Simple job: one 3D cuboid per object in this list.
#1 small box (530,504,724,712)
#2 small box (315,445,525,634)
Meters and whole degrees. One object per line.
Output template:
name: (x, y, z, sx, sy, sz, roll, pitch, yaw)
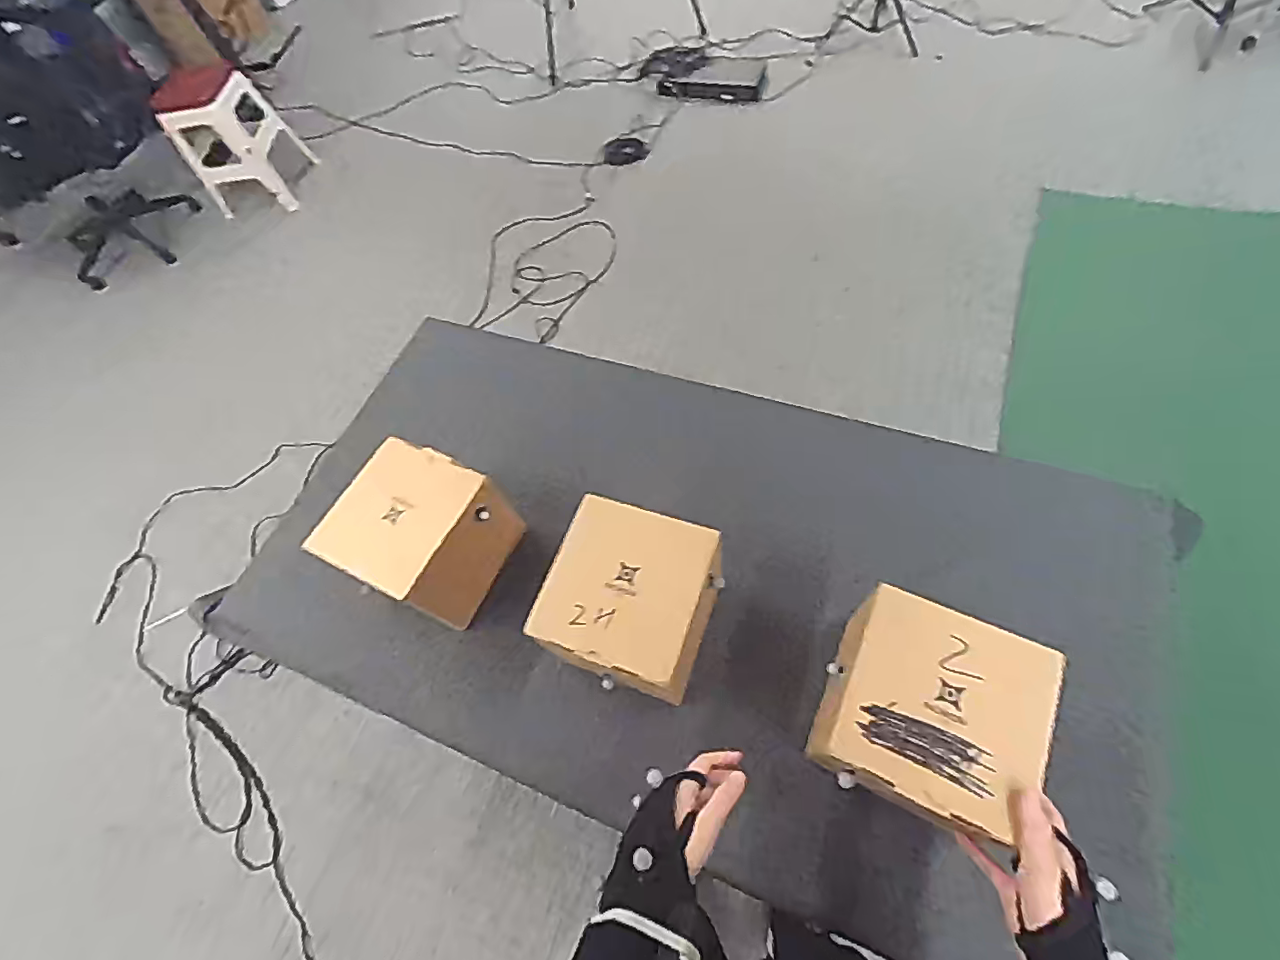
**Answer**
small box: (-0.006, 0.160, 0.659, 0.168, 0.176, 0.179, 18, 66, 16)
small box: (-0.283, 0.087, 0.740, 0.168, 0.176, 0.179, 21, 66, 19)
